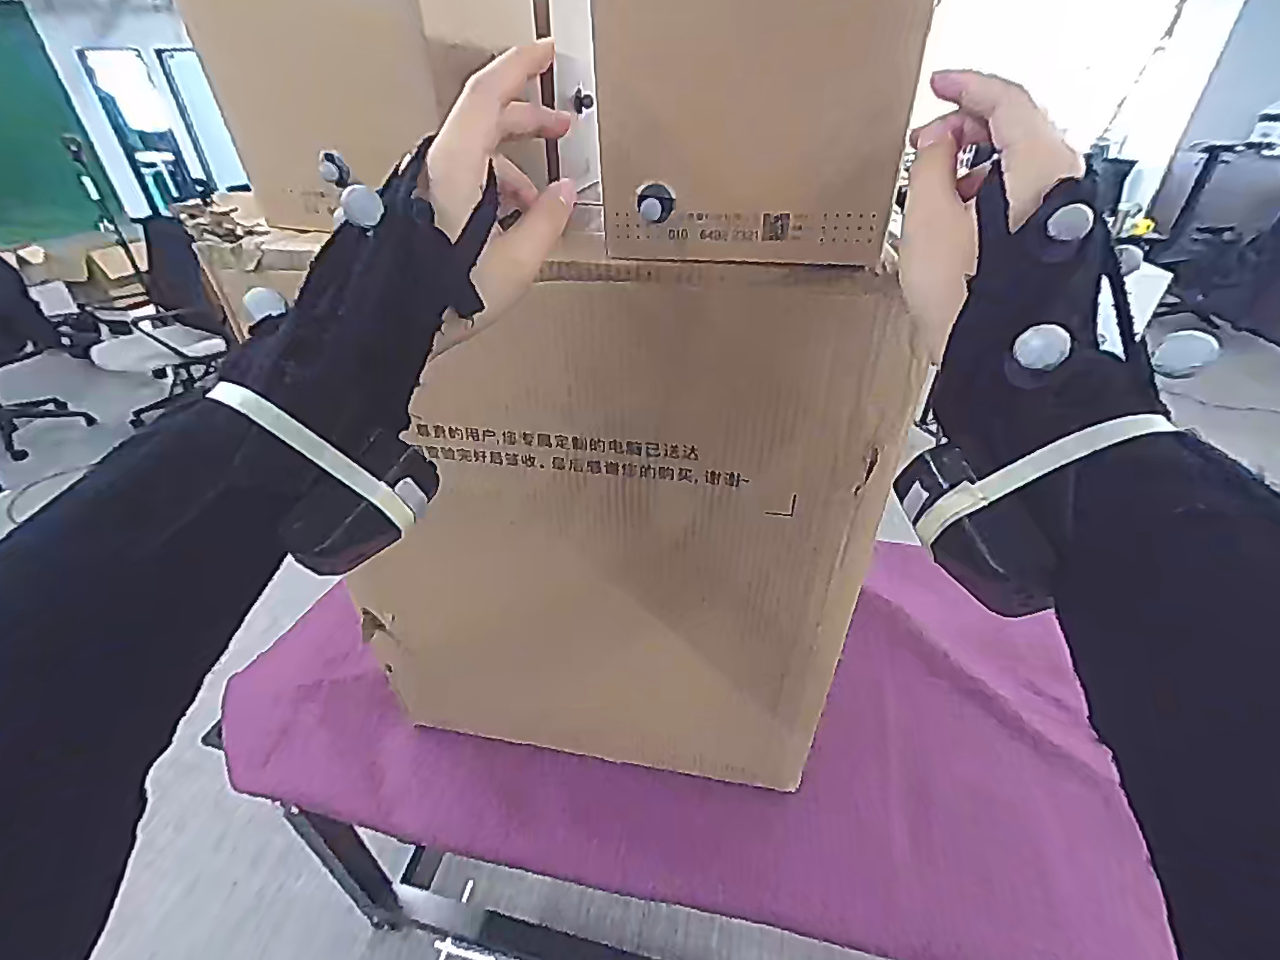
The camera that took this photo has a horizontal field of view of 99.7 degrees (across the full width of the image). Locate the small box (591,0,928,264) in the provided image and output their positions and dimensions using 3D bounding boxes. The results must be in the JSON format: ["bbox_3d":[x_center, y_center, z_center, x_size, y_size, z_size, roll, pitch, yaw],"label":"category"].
[{"bbox_3d":[0.076,-0.243,0.347,0.168,0.176,0.179,6,35,12],"label":"small box"}]
